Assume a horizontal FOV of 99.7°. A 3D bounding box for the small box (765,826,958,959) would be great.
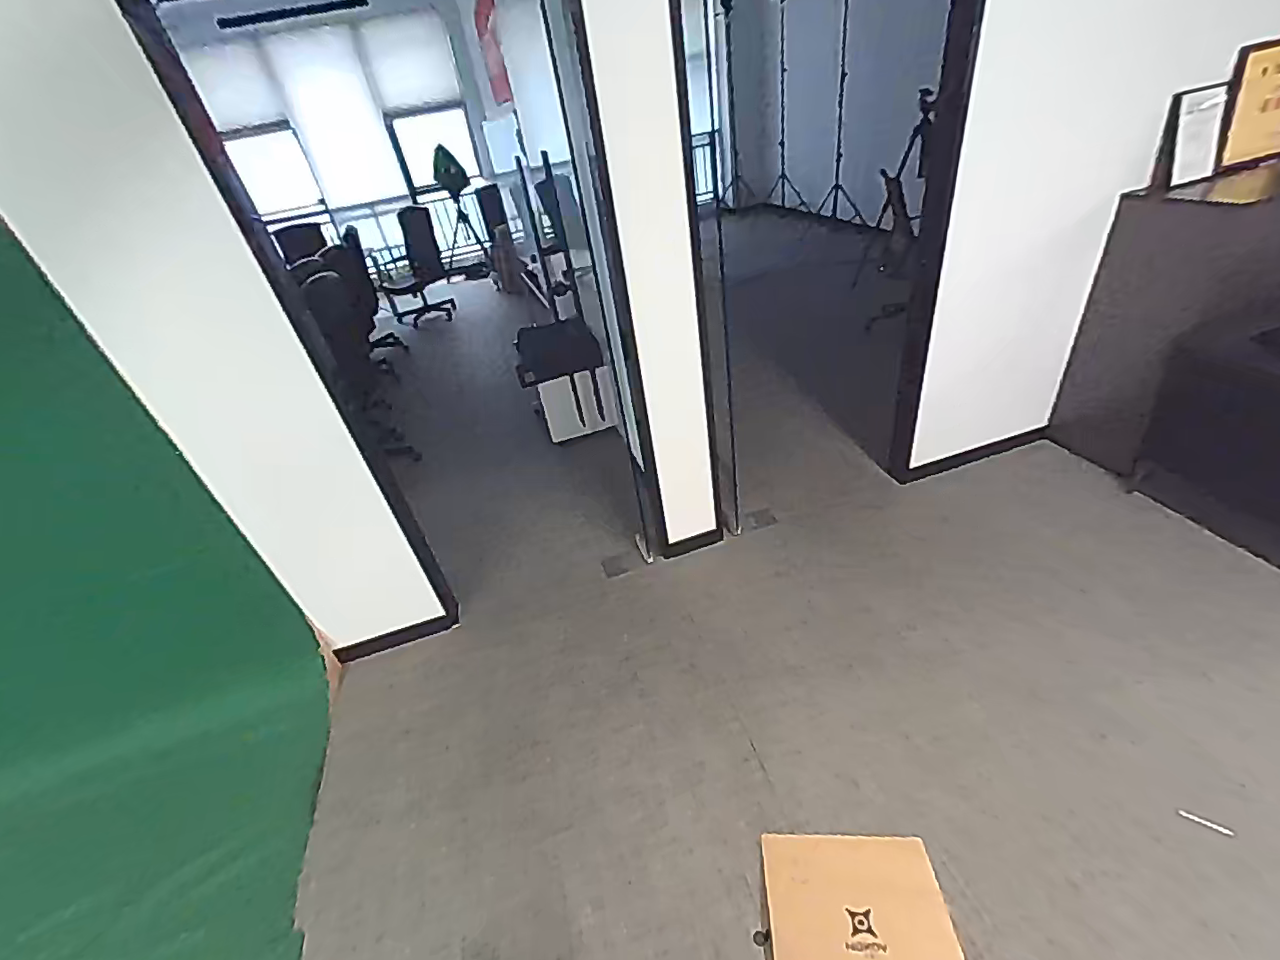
[{"bbox_3d":[0.207,0.481,0.526,0.168,0.176,0.179,-3,30,14],"label":"small box"}]
